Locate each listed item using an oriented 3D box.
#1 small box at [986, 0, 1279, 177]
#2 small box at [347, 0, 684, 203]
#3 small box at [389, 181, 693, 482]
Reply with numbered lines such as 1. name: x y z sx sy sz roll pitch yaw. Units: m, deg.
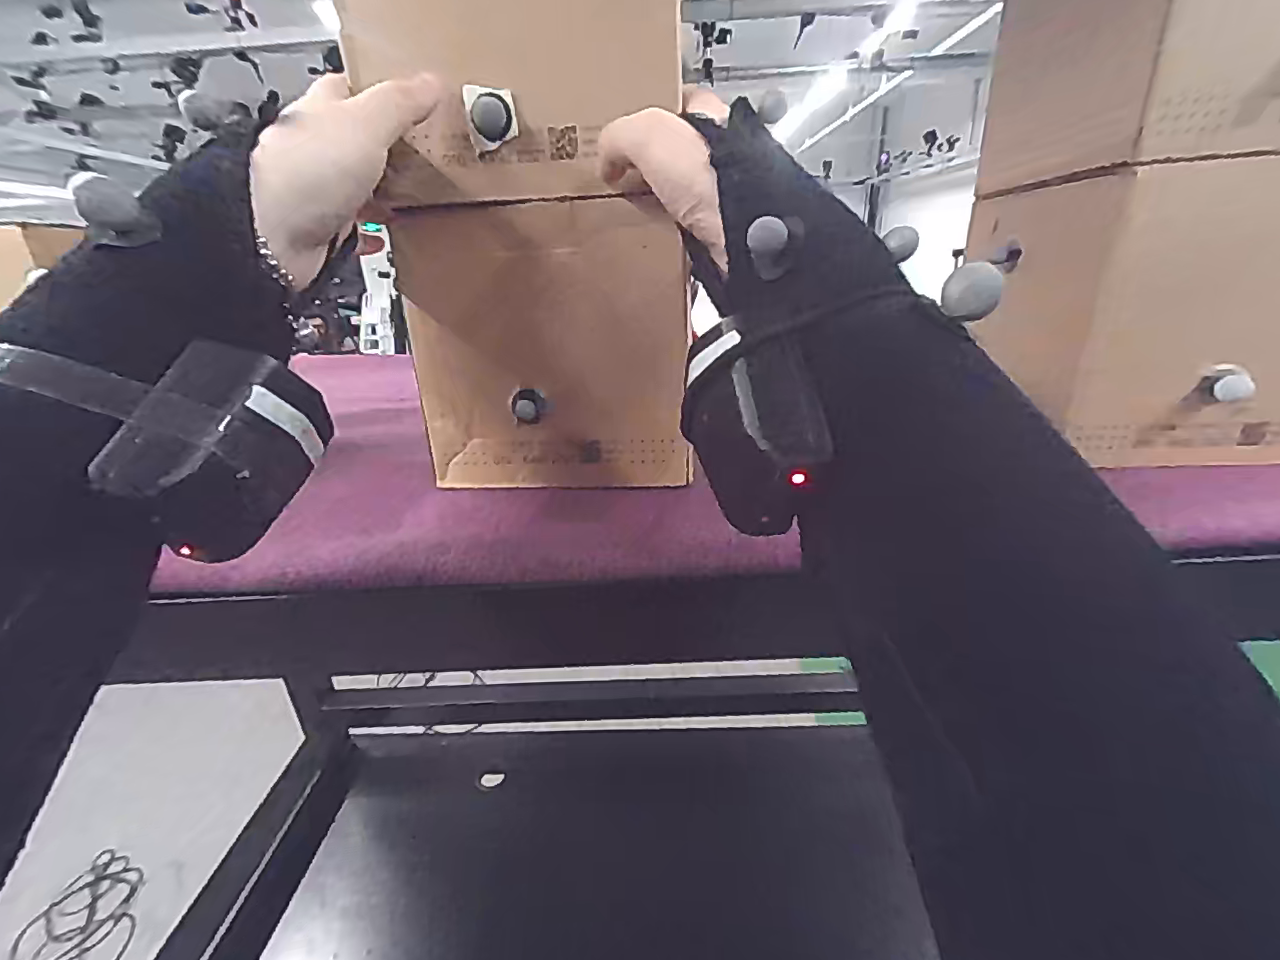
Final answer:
1. small box: 0.328 -0.275 0.305 0.168 0.176 0.179 -2 23 8
2. small box: -0.063 -0.255 0.329 0.168 0.176 0.179 -4 22 2
3. small box: -0.047 -0.106 0.392 0.168 0.176 0.179 -1 22 6
